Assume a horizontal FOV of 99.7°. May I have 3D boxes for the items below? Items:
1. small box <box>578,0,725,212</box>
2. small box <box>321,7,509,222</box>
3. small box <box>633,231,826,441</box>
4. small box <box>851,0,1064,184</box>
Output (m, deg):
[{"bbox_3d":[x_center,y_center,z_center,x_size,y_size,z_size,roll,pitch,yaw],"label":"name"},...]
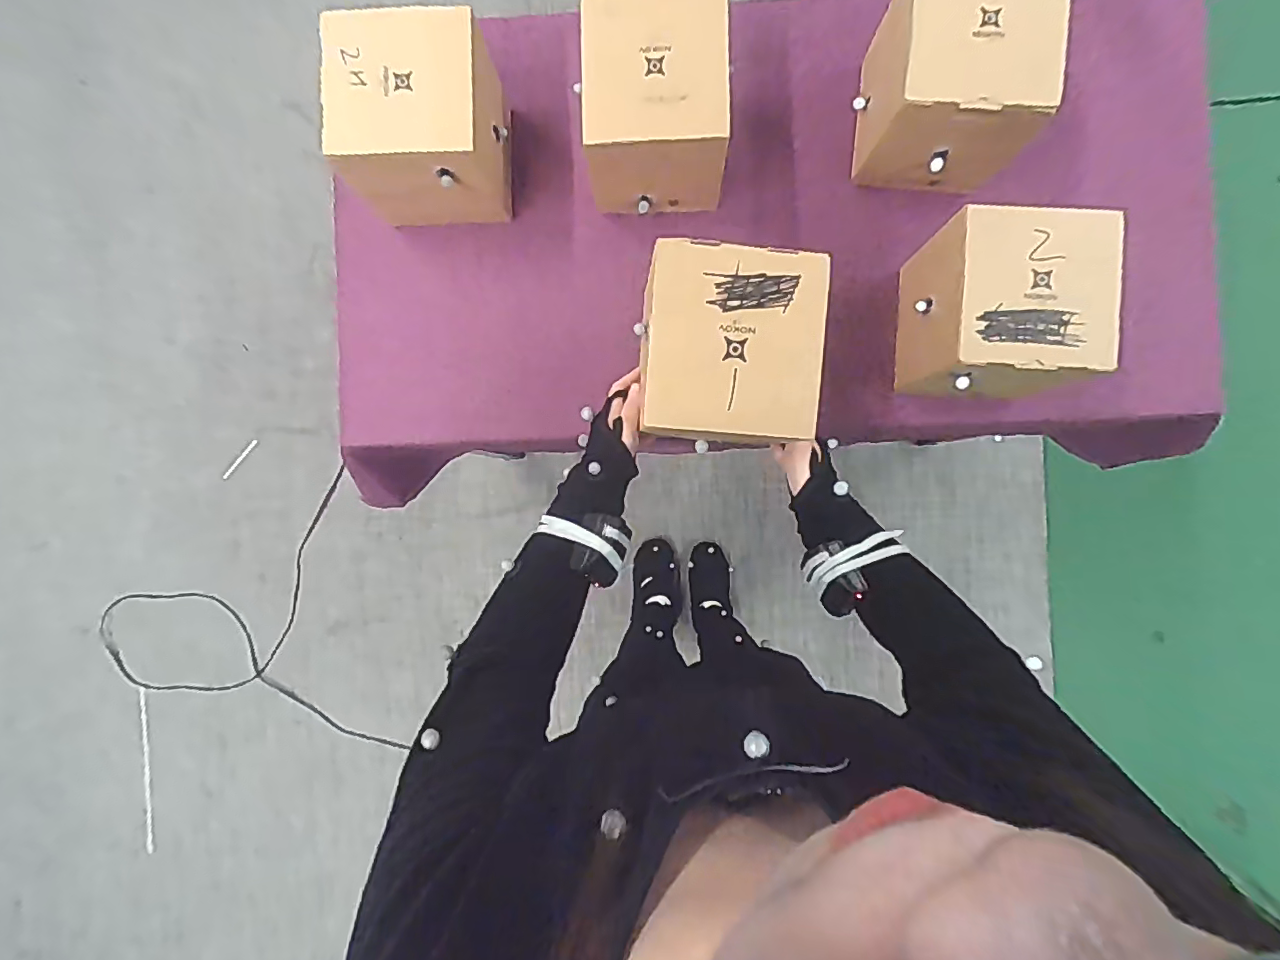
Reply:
[{"bbox_3d":[0.015,-0.465,0.679,0.168,0.176,0.179,-1,90,3],"label":"small box"},{"bbox_3d":[-0.272,-0.450,0.690,0.179,0.176,0.168,-1,89,3],"label":"small box"},{"bbox_3d":[0.081,-0.137,0.577,0.168,0.176,0.179,4,93,-2],"label":"small box"},{"bbox_3d":[0.371,-0.491,0.659,0.168,0.176,0.179,5,90,2],"label":"small box"}]
